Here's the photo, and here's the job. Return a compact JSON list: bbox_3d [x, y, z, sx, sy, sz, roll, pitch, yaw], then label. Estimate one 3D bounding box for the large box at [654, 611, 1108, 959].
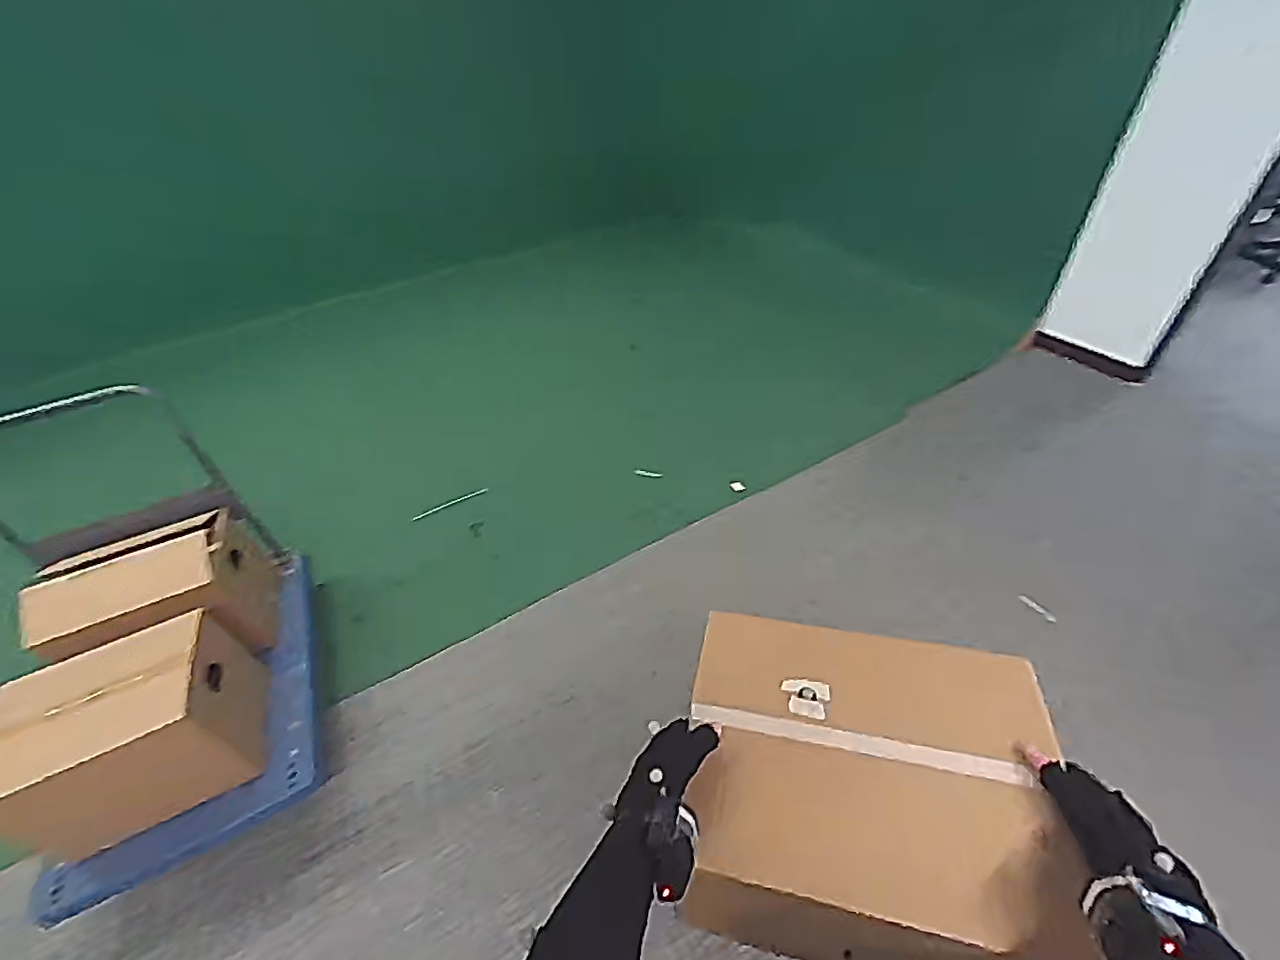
[{"bbox_3d":[0.258,0.407,0.705,0.408,0.320,0.320,4,42,15],"label":"large box"}]
